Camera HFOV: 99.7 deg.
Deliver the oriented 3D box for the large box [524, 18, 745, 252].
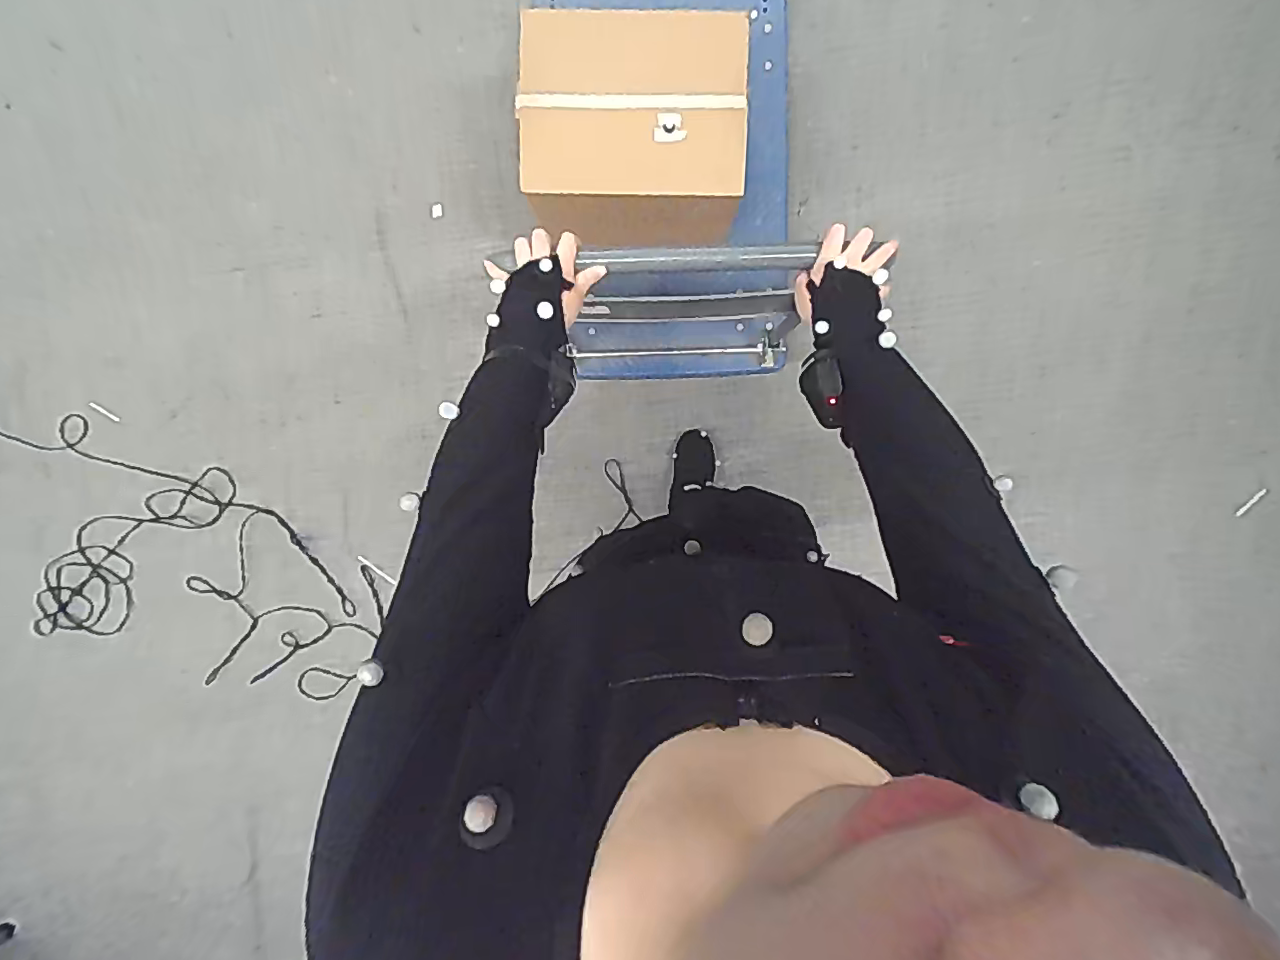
[{"bbox_3d":[-0.011,-0.685,1.128,0.408,0.320,0.320,1,94,0],"label":"large box"}]
